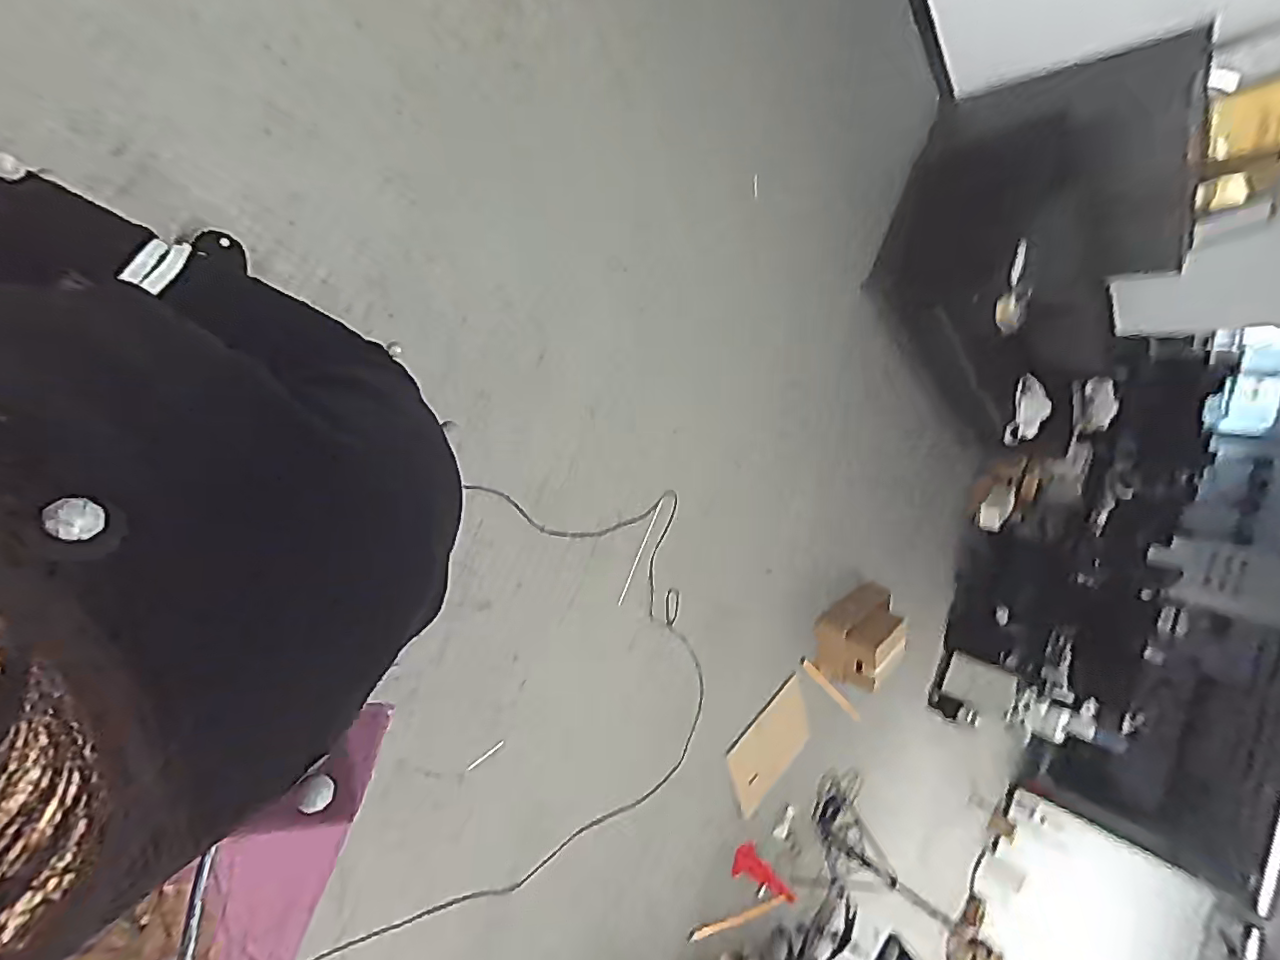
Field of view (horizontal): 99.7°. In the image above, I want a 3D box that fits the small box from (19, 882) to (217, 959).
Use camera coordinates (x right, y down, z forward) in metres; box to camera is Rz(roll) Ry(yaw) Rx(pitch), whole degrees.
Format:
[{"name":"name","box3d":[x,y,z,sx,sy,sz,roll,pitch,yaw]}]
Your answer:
[{"name":"small box","box3d":[-0.590,0.594,0.591,0.168,0.176,0.179,27,82,-43]}]
